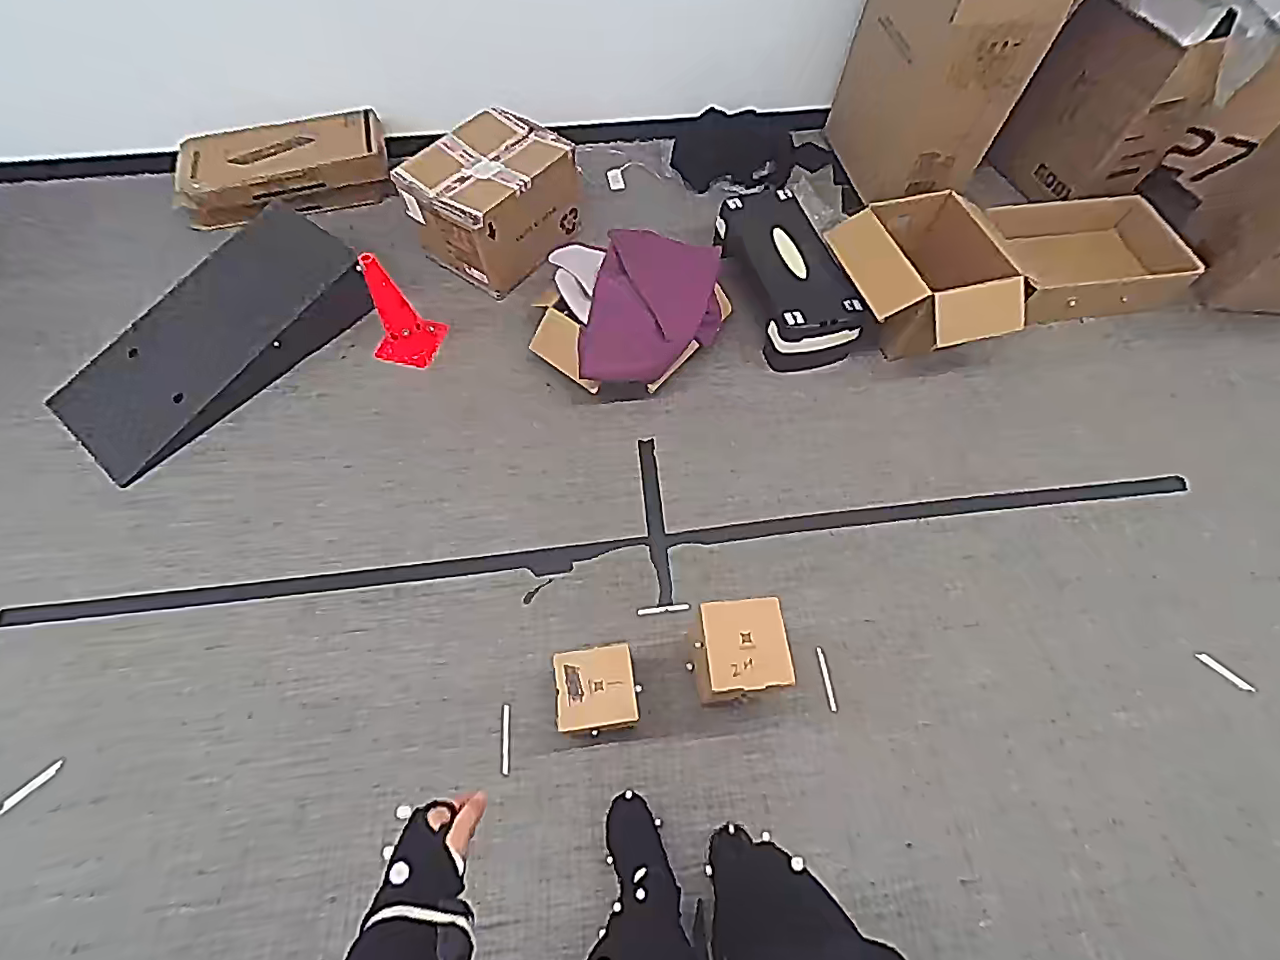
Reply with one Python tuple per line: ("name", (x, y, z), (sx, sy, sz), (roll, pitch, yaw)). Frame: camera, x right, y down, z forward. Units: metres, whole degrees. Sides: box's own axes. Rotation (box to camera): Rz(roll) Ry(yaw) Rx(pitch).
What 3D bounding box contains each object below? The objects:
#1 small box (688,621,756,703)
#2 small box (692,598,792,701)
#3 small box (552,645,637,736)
("small box", (0.211, 0.436, 1.305), (0.168, 0.176, 0.179), (-6, 63, -3))
("small box", (0.208, 0.365, 1.154), (0.168, 0.176, 0.179), (-5, 63, -2))
("small box", (-0.103, 0.498, 1.268), (0.179, 0.176, 0.168), (-7, 63, -5))
